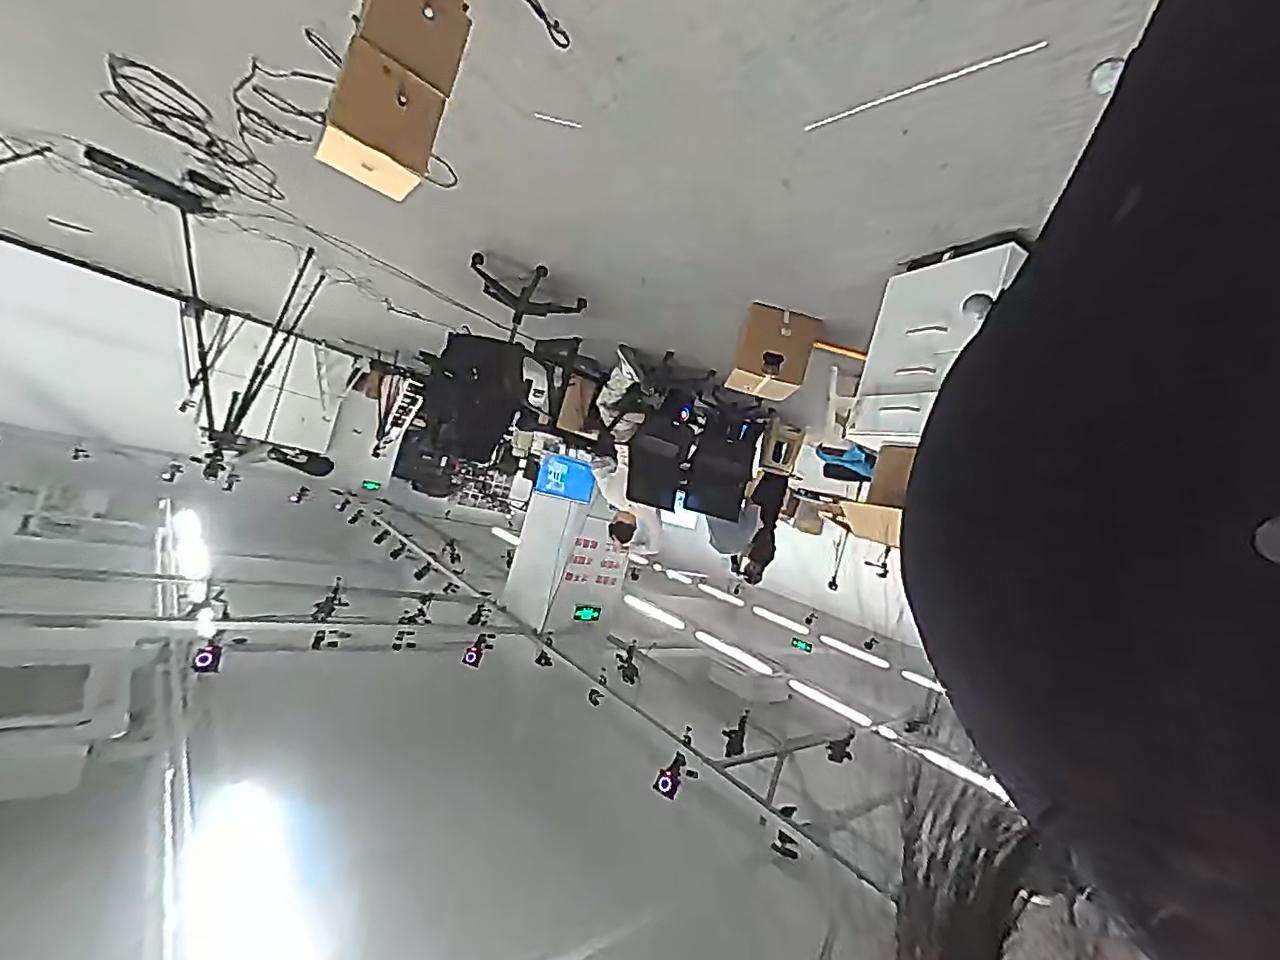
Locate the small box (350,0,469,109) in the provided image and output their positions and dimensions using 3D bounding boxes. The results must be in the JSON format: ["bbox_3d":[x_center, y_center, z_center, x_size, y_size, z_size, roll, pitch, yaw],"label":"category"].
[{"bbox_3d":[-0.456,-0.846,1.058,0.168,0.176,0.179,16,178,-39],"label":"small box"}]

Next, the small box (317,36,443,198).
[{"bbox_3d":[-0.502,-0.690,1.047,0.168,0.176,0.179,17,177,-38],"label":"small box"}]
